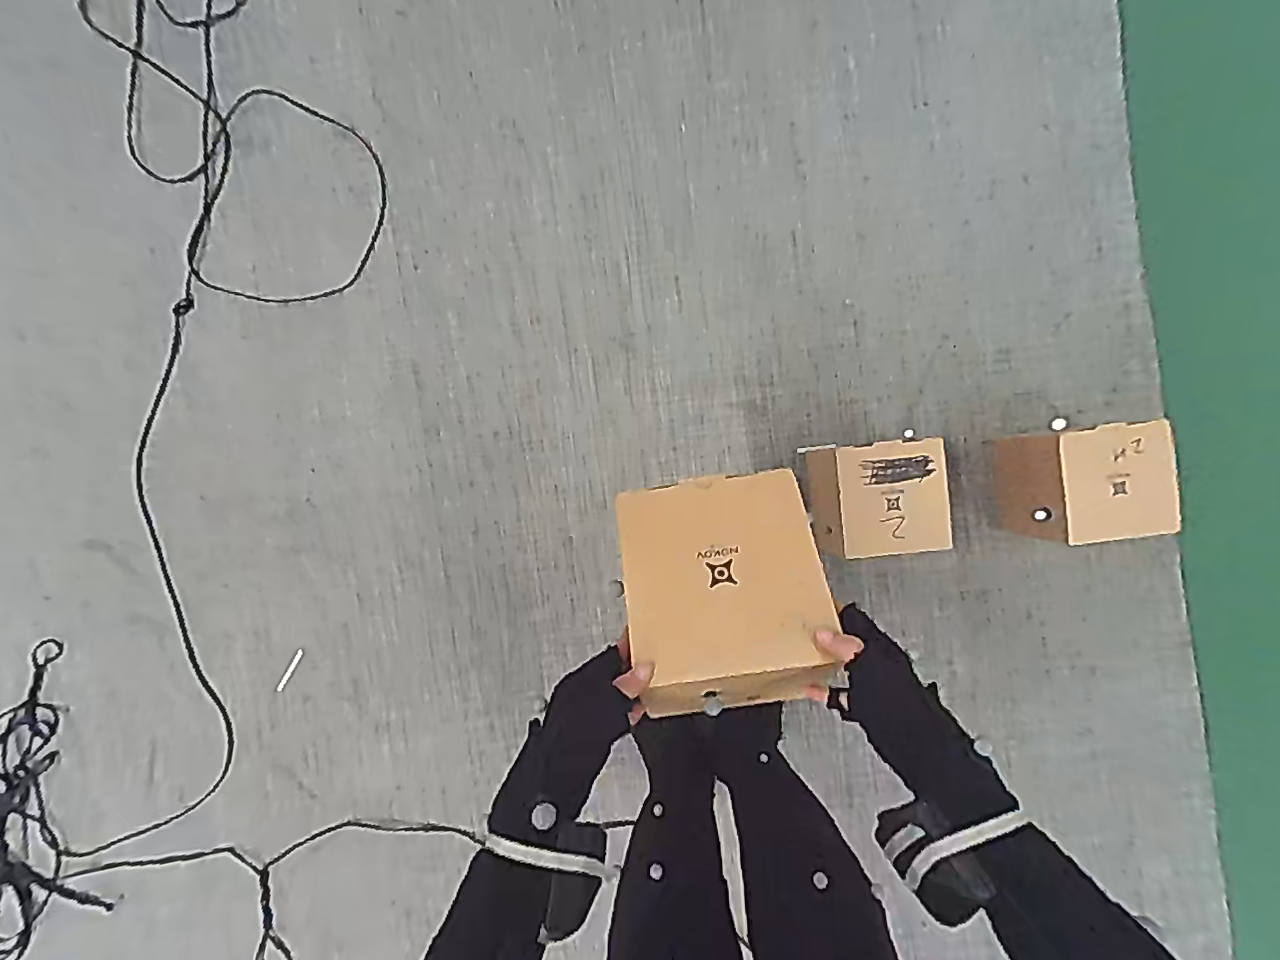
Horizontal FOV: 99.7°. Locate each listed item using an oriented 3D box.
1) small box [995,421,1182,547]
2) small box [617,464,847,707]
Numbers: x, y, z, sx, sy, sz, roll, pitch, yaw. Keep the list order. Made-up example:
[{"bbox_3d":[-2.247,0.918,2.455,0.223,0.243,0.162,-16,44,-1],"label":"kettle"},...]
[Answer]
[{"bbox_3d":[0.722,0.003,0.888,0.168,0.176,0.179,-7,91,2],"label":"small box"},{"bbox_3d":[0.077,0.111,0.518,0.168,0.176,0.179,-9,58,1],"label":"small box"}]
